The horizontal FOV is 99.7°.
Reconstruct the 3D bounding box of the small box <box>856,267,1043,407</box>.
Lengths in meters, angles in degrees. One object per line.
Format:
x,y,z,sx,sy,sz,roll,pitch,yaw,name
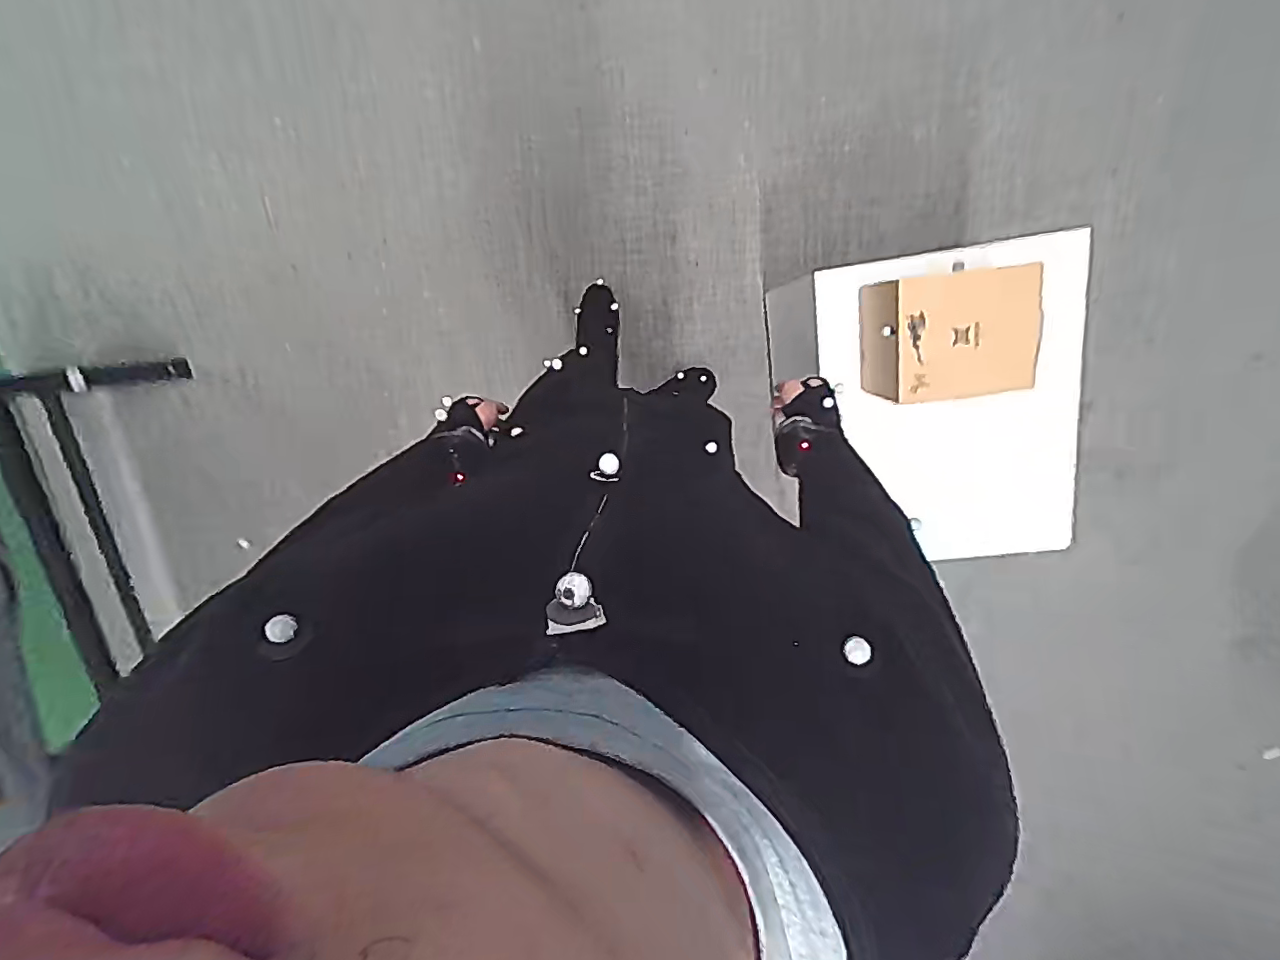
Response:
0.427,-0.205,0.774,0.179,0.176,0.168,-5,106,6,small box
